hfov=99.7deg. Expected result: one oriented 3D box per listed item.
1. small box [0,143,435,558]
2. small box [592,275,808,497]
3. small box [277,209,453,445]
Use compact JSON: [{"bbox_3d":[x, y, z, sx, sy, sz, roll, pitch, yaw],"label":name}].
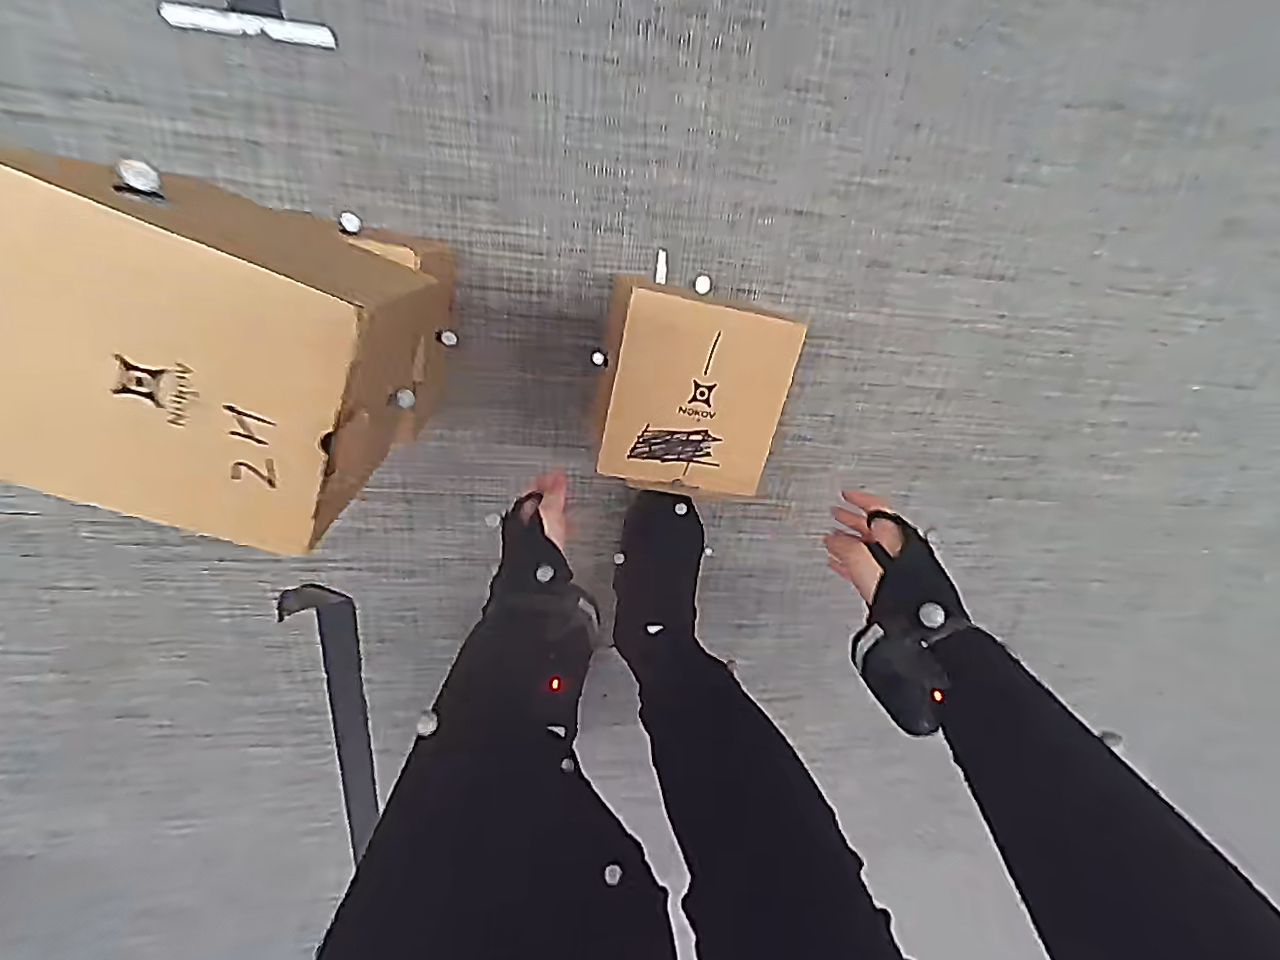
[{"bbox_3d":[-0.257,-0.081,0.352,0.179,0.176,0.168,20,111,-16],"label":"small box"},{"bbox_3d":[0.045,-0.105,0.569,0.168,0.176,0.179,8,112,-12],"label":"small box"},{"bbox_3d":[-0.278,-0.147,0.502,0.179,0.176,0.168,8,113,-12],"label":"small box"}]
